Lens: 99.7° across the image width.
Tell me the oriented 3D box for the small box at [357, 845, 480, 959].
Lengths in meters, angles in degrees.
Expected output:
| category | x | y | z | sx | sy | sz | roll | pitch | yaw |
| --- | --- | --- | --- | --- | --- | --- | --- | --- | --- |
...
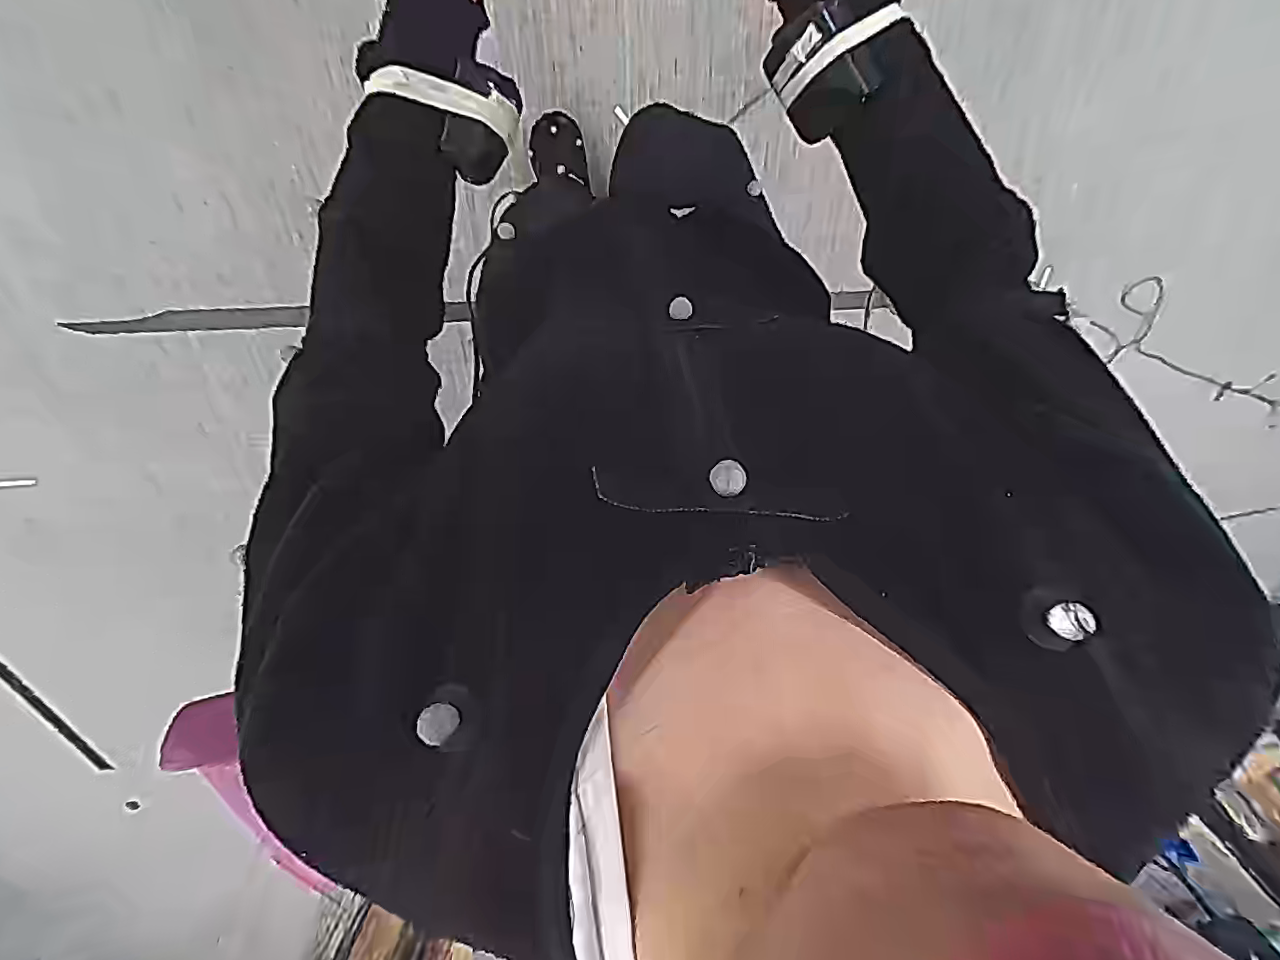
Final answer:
| category | x | y | z | sx | sy | sz | roll | pitch | yaw |
| --- | --- | --- | --- | --- | --- | --- | --- | --- | --- |
| small box | -0.399 | 0.804 | 1.005 | 0.168 | 0.176 | 0.179 | -4 | 125 | -7 |
